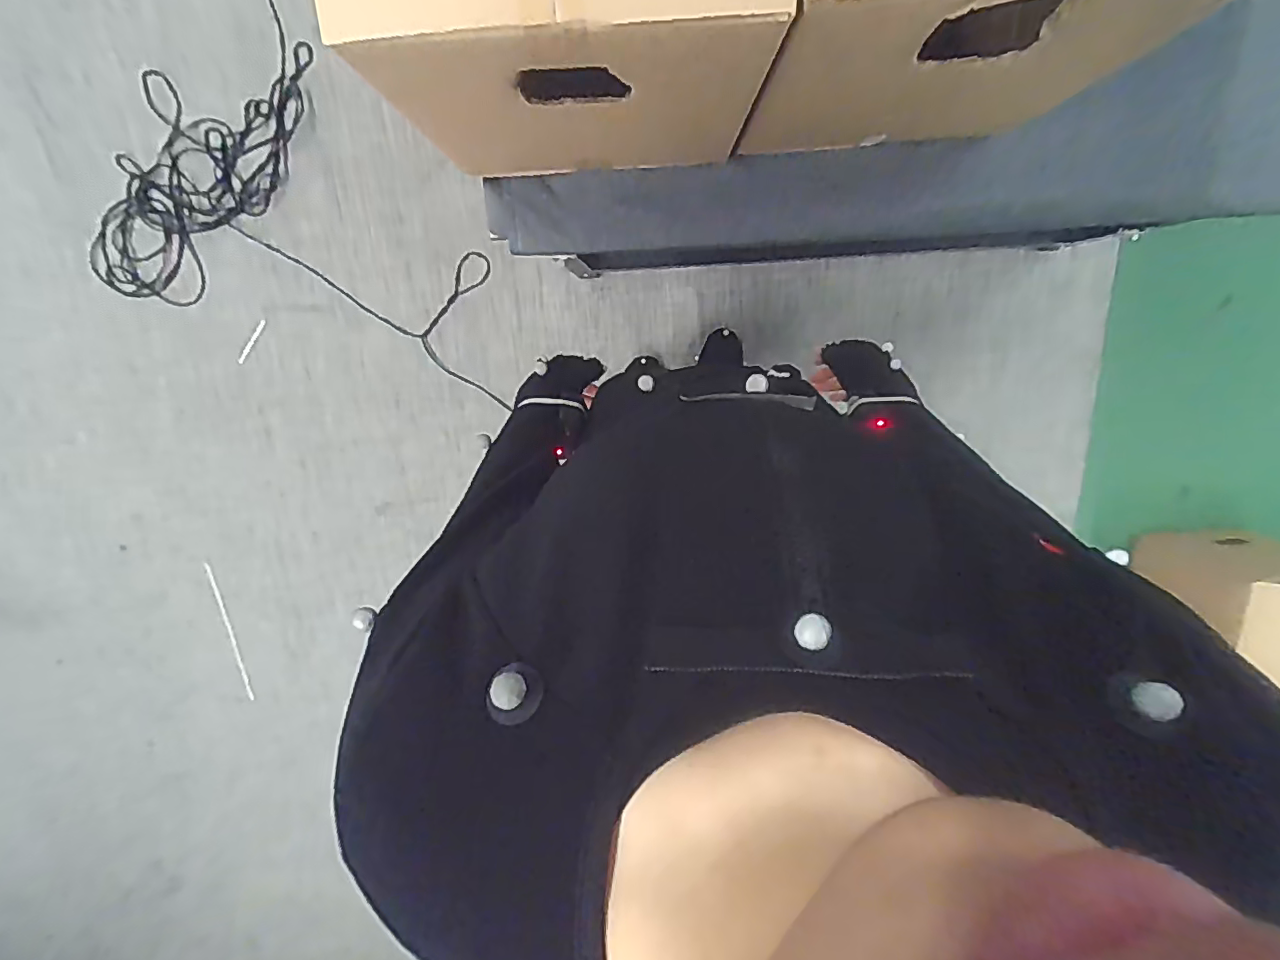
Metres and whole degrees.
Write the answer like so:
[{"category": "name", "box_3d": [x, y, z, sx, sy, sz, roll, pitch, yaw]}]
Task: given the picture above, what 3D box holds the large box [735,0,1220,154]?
[{"category": "large box", "box_3d": [0.249, -0.548, 0.441, 0.320, 0.320, 0.408, -4, 105, 4]}]
